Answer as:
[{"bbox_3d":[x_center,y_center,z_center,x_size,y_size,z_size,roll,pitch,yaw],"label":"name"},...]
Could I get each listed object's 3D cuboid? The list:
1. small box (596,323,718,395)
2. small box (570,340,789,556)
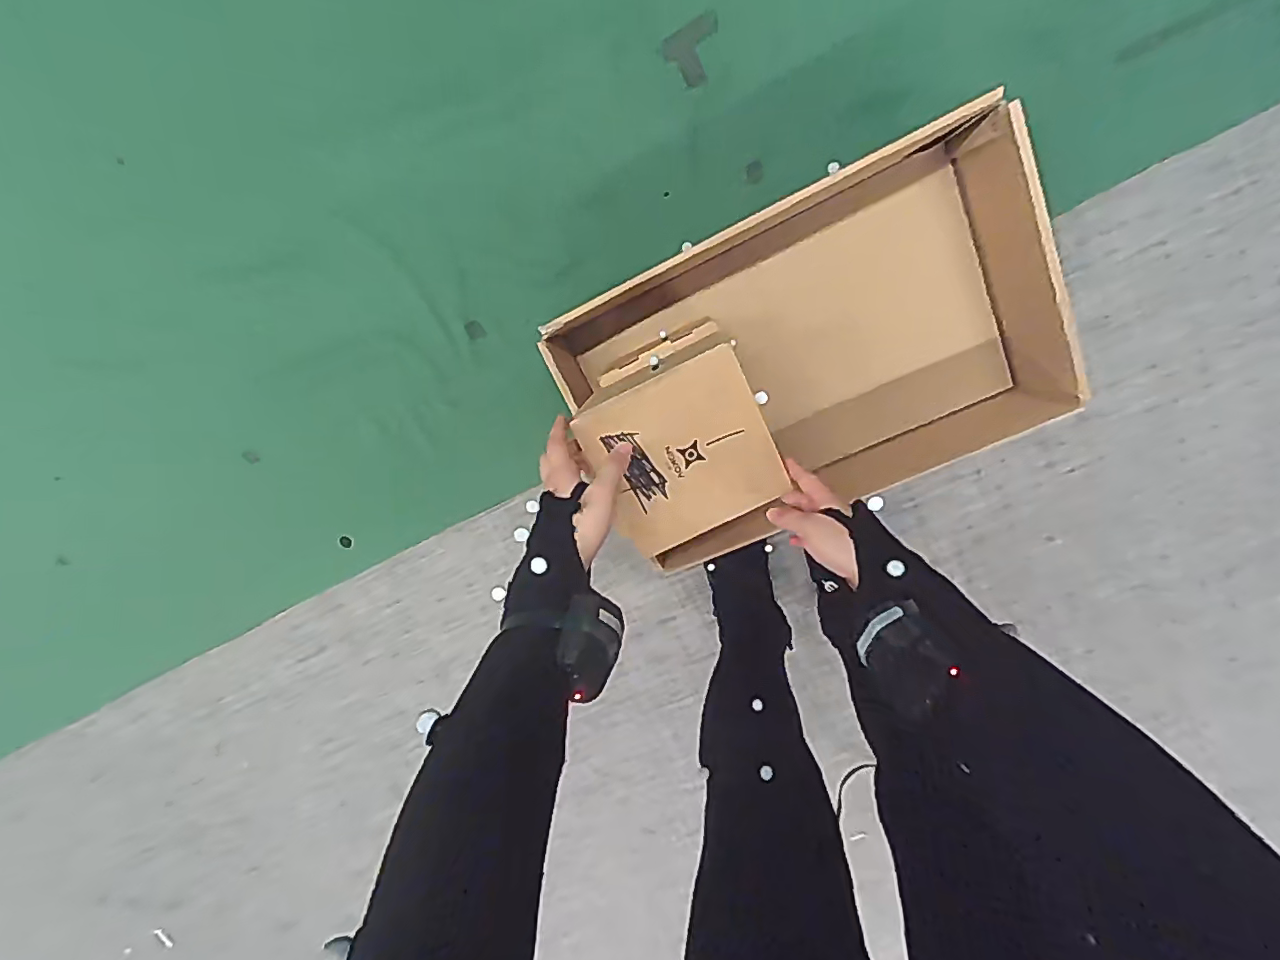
[{"bbox_3d":[0.058,-0.108,0.770,0.168,0.176,0.179,-25,105,11],"label":"small box"},{"bbox_3d":[0.046,-0.046,0.616,0.179,0.176,0.168,-24,105,11],"label":"small box"}]
